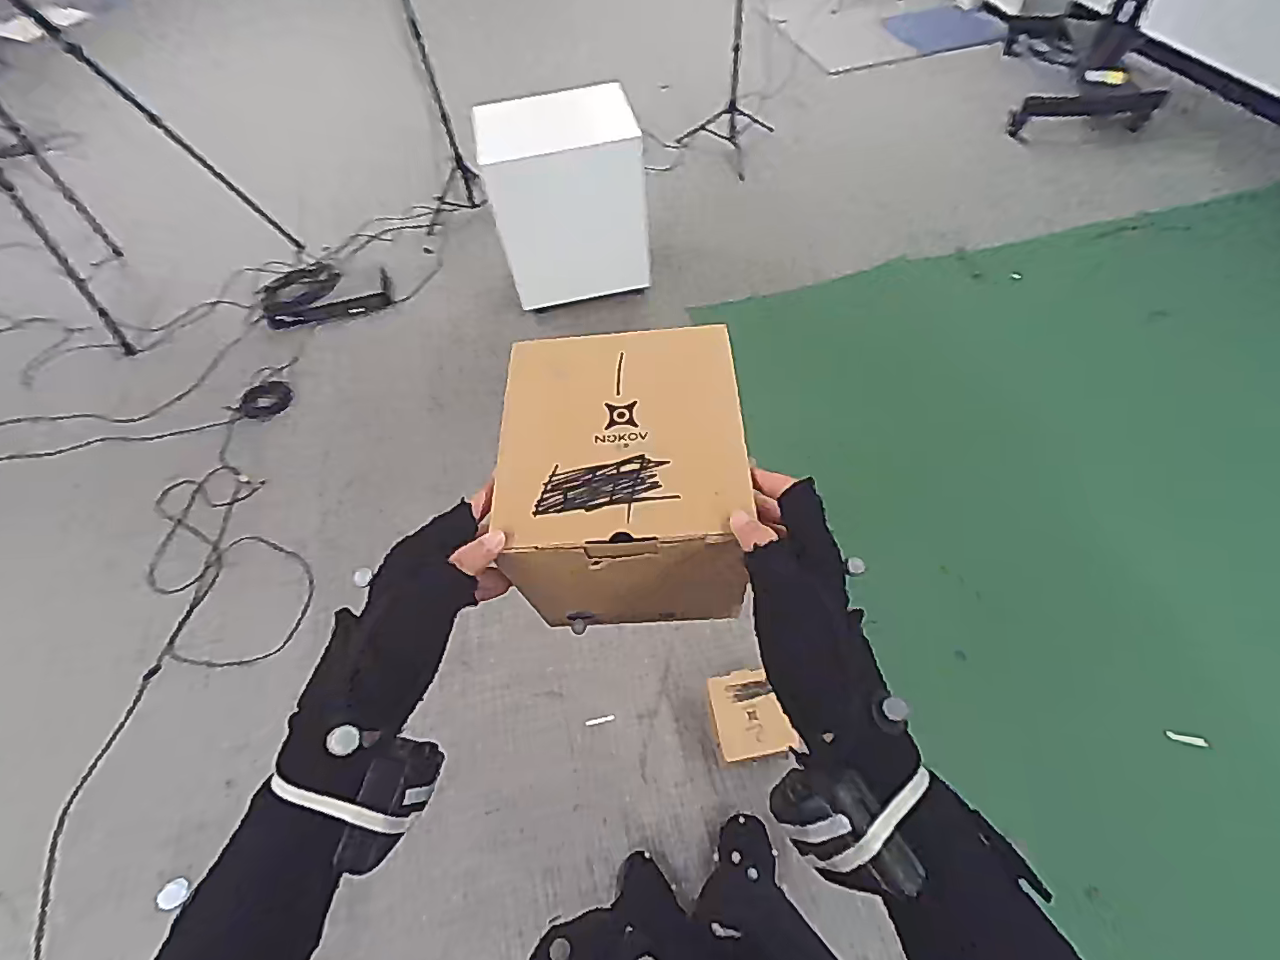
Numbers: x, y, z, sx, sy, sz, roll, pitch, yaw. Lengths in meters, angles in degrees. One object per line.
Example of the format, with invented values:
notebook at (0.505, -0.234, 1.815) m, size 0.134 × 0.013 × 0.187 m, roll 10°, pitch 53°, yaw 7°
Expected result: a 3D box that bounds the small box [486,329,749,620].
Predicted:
small box at (-0.007, 0.007, 0.434) m, size 0.168 × 0.176 × 0.179 m, roll -3°, pitch 57°, yaw 4°
